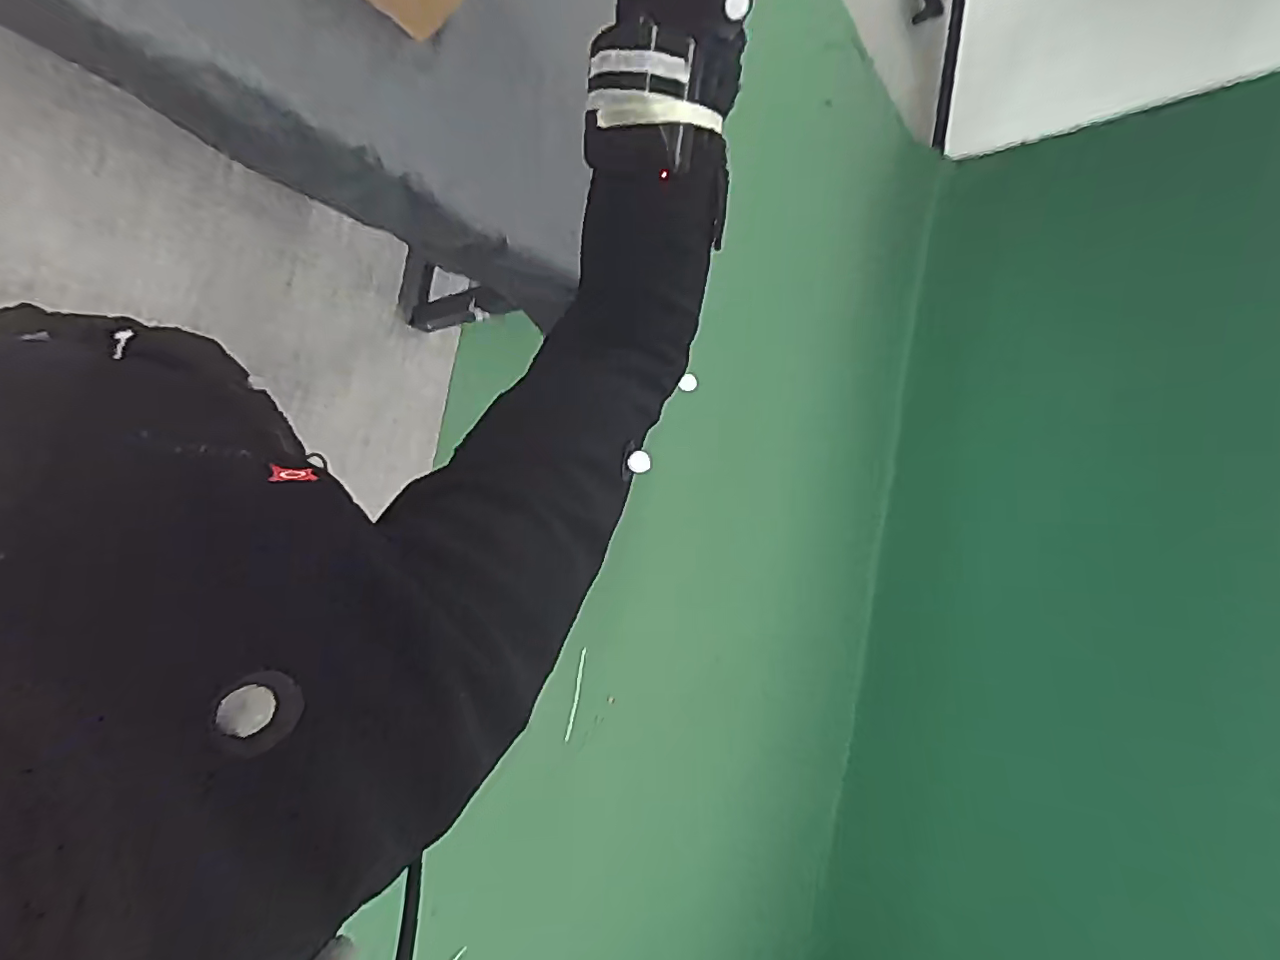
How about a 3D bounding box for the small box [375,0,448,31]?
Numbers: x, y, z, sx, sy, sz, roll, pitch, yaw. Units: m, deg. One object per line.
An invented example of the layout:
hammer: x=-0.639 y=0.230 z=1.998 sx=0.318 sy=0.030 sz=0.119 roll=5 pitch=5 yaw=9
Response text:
small box: x=-0.233 y=-0.593 z=0.512 sx=0.168 sy=0.176 sz=0.179 roll=17 pitch=82 yaw=-47
